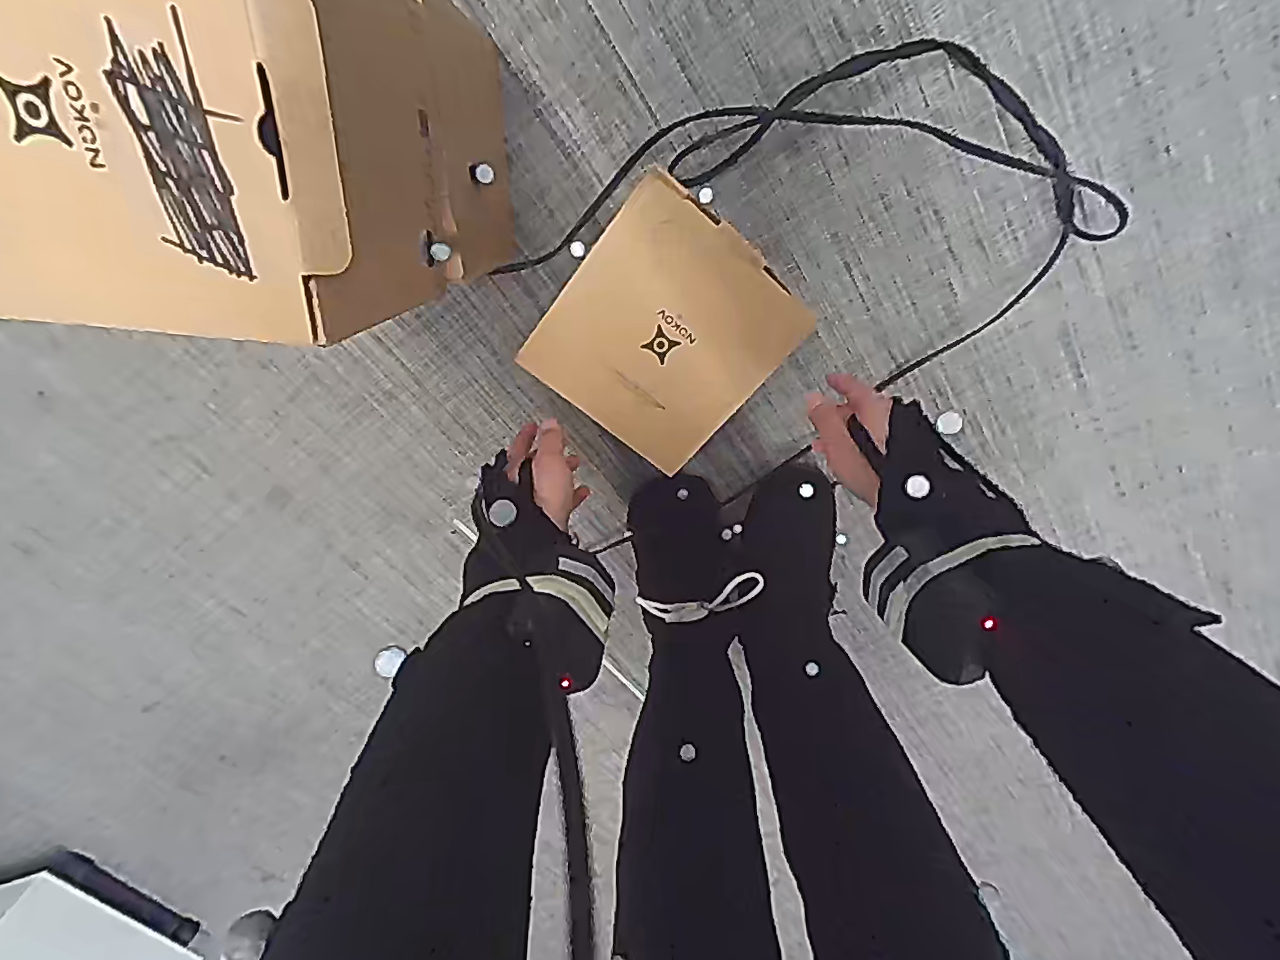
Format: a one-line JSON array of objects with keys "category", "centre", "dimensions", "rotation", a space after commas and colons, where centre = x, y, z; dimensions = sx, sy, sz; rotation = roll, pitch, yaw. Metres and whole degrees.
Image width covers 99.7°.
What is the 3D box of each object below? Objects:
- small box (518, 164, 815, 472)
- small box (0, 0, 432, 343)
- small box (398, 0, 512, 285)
[{"category": "small box", "centre": [0.019, -0.147, 0.485], "dimensions": [0.168, 0.176, 0.179], "rotation": [36, 113, -15]}, {"category": "small box", "centre": [-0.223, -0.180, 0.284], "dimensions": [0.179, 0.176, 0.168], "rotation": [5, 117, 0]}, {"category": "small box", "centre": [-0.208, -0.259, 0.429], "dimensions": [0.168, 0.176, 0.179], "rotation": [0, 118, 2]}]
